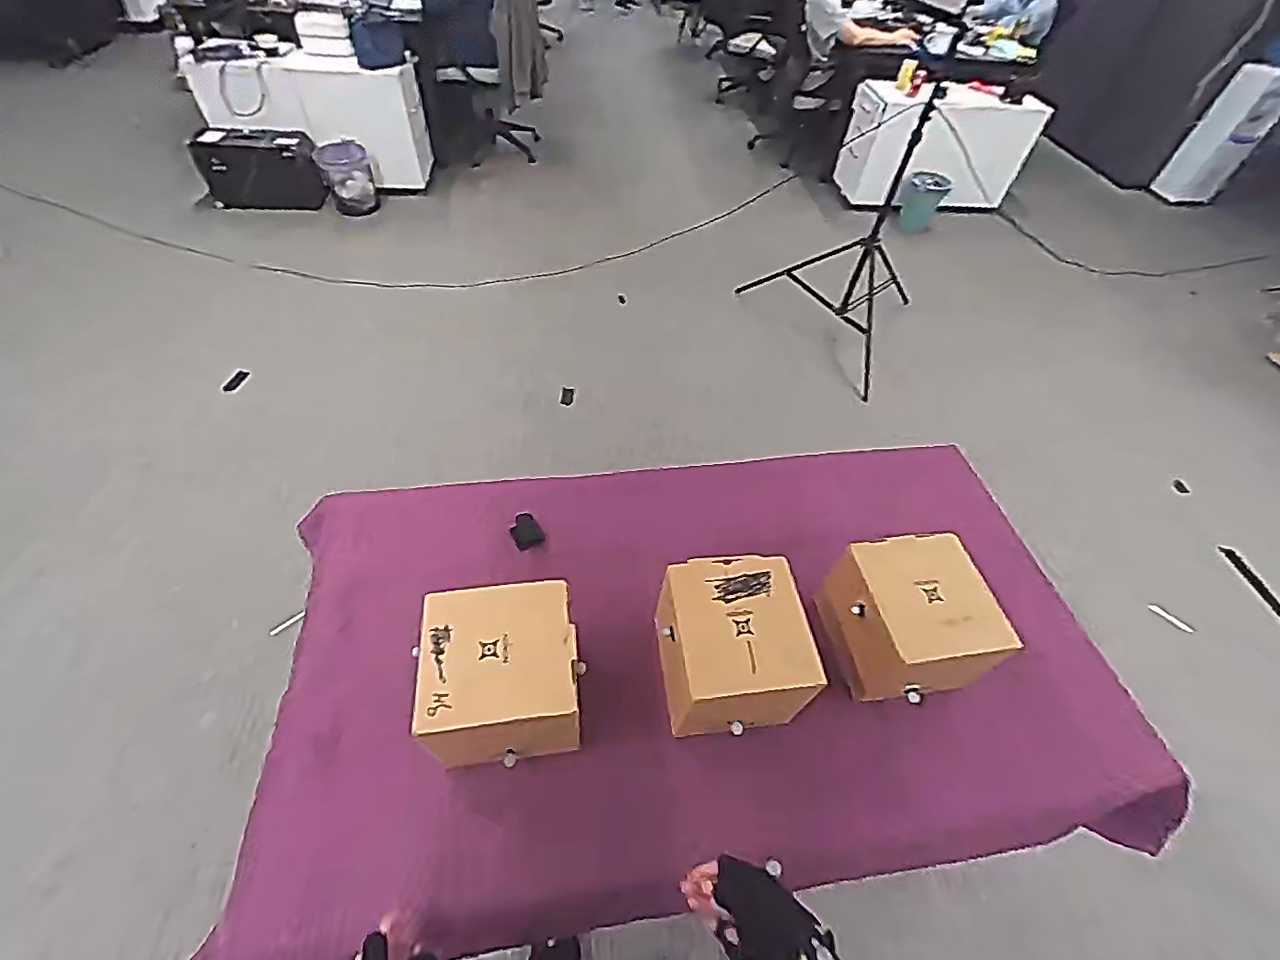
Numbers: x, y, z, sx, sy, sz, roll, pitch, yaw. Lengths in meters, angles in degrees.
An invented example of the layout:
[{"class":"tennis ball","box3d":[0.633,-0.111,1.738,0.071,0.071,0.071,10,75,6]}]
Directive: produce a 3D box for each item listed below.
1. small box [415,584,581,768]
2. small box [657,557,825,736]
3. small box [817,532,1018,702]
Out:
[{"class":"small box","box3d":[-0.171,0.251,0.690,0.179,0.176,0.168,-4,51,-10]},{"class":"small box","box3d":[0.121,0.227,0.737,0.168,0.176,0.179,-4,52,-8]},{"class":"small box","box3d":[0.381,0.199,0.786,0.168,0.176,0.179,-6,52,-9]}]
